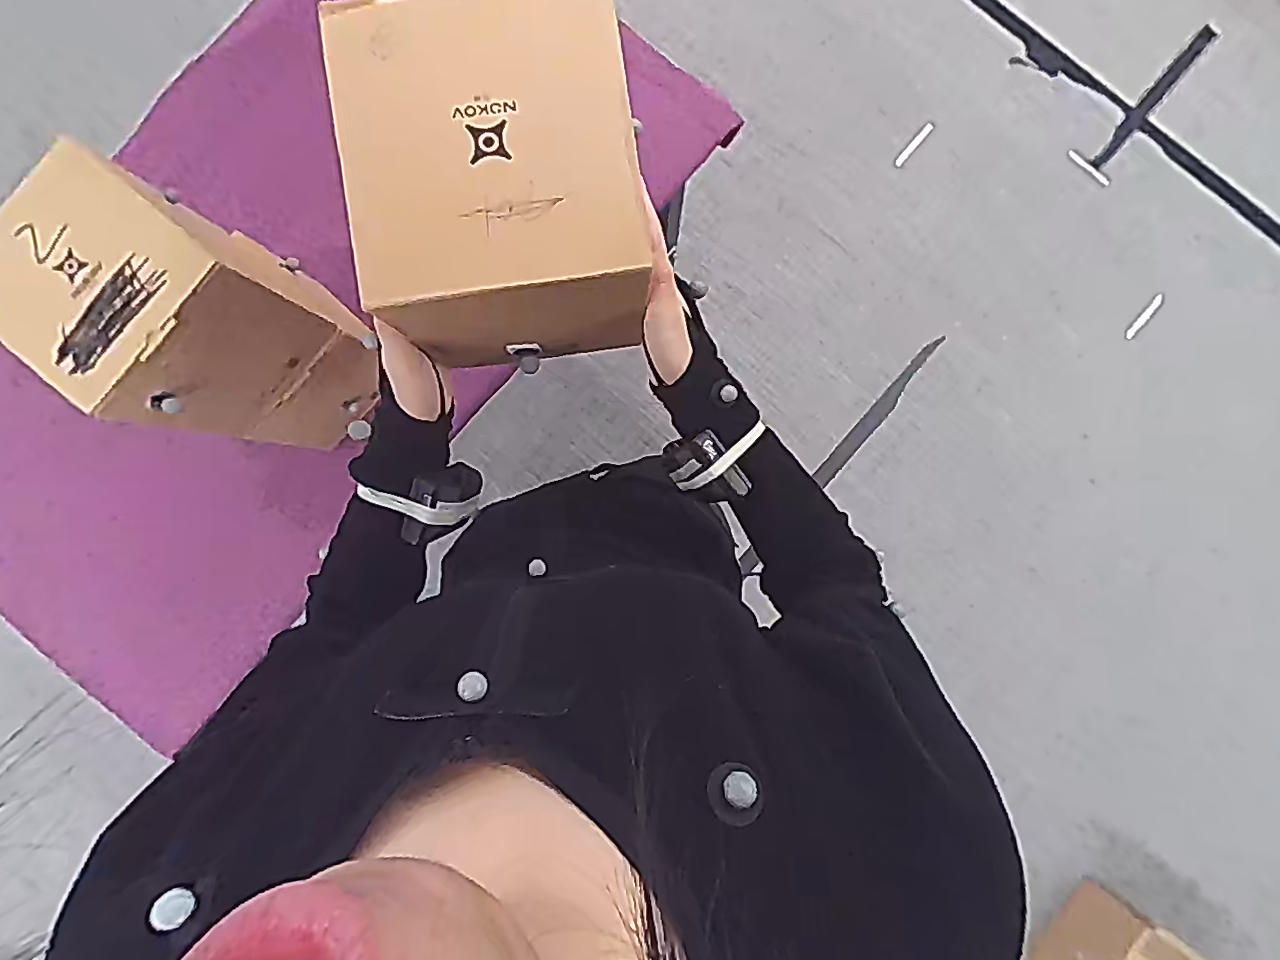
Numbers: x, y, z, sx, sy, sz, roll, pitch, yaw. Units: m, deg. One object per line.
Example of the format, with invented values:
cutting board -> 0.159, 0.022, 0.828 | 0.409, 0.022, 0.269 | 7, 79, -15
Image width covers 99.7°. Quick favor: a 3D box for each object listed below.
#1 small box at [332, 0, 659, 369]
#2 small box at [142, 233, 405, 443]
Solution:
small box -> -0.085, -0.192, 0.385 | 0.168, 0.176, 0.179 | -9, 90, -2
small box -> -0.445, -0.162, 0.688 | 0.179, 0.176, 0.168 | 42, 90, 1
